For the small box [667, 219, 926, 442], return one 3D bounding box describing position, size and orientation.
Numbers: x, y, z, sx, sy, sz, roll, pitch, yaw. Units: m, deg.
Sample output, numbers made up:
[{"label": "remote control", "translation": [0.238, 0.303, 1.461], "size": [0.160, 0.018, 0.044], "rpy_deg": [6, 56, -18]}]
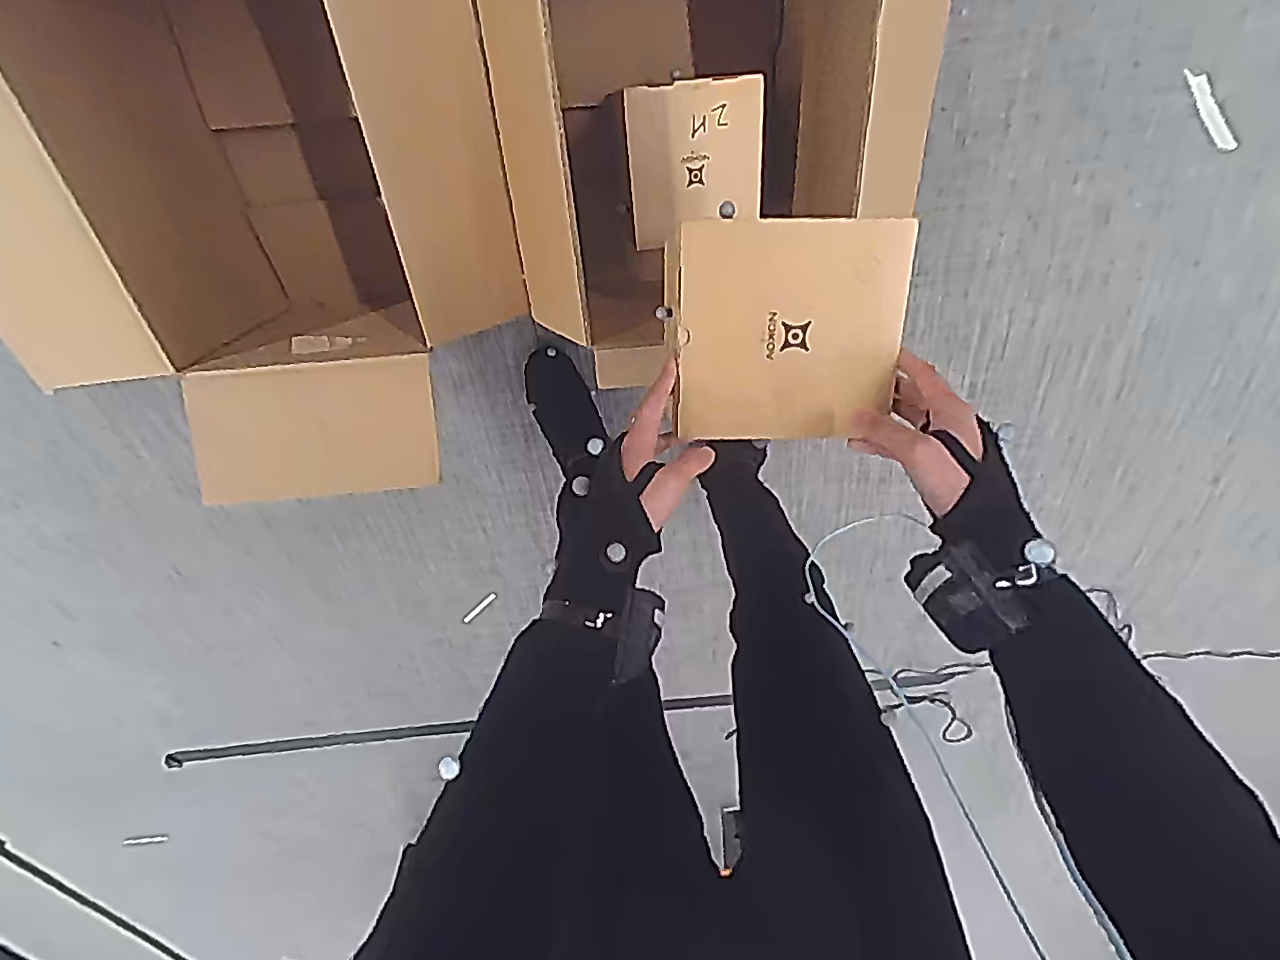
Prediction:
[{"label": "small box", "translation": [0.116, -0.136, 0.482], "size": [0.179, 0.176, 0.168], "rpy_deg": [0, 111, 1]}]
